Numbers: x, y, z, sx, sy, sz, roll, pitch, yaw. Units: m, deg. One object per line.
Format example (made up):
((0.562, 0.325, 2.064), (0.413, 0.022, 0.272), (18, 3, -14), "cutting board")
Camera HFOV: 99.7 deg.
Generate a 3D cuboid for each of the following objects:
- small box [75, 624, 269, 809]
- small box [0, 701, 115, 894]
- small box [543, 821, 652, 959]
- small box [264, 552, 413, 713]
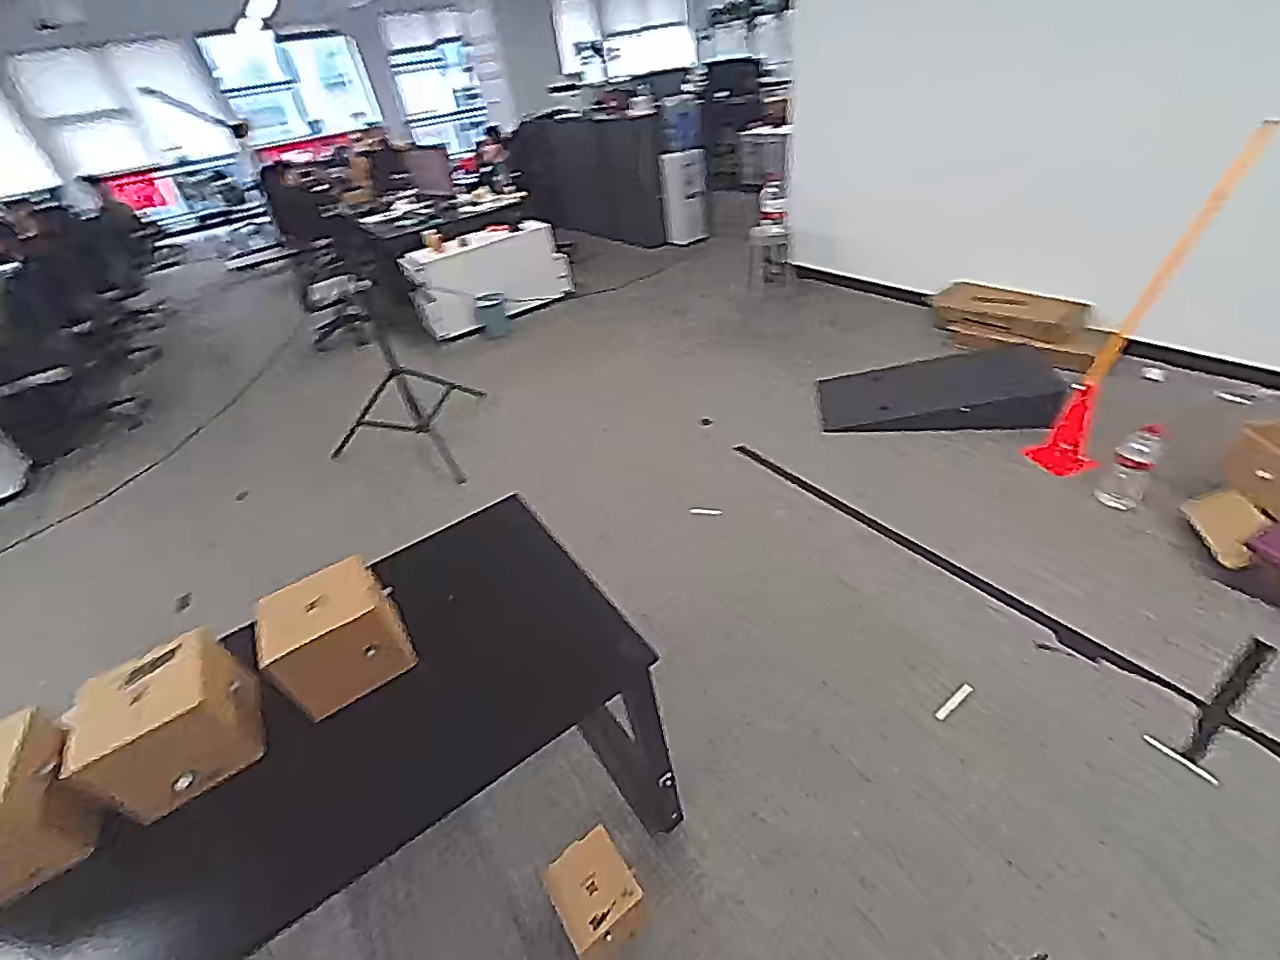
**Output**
((-0.728, 0.374, 0.862), (0.168, 0.176, 0.179), (-28, 42, -22), "small box")
((-0.915, 0.469, 0.781), (0.168, 0.176, 0.179), (-25, 40, -20), "small box")
((-0.093, 0.924, 1.212), (0.168, 0.176, 0.179), (-29, 41, -22), "small box")
((-0.524, 0.268, 0.957), (0.179, 0.176, 0.168), (-29, 40, -21), "small box")
